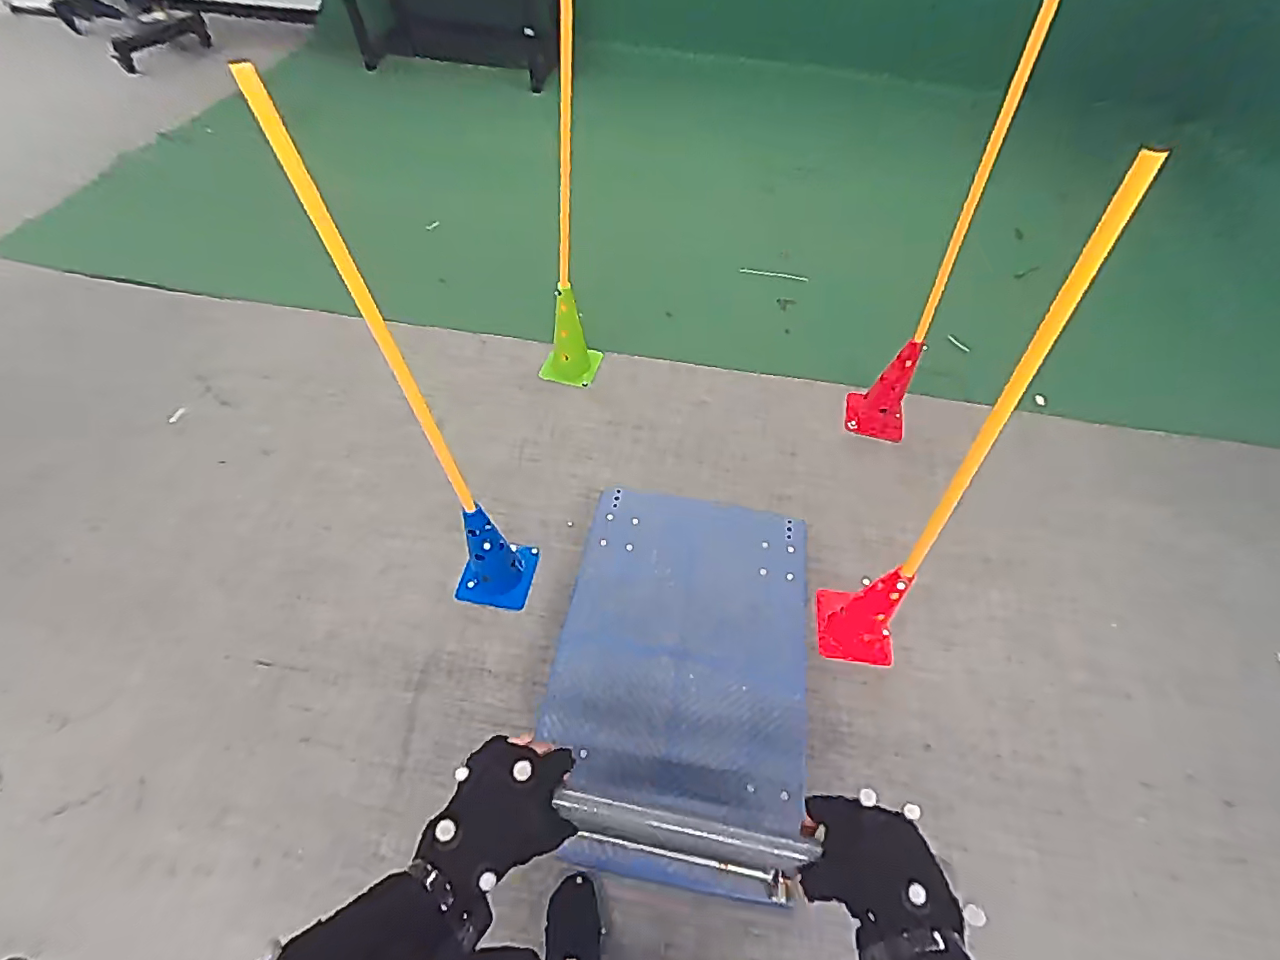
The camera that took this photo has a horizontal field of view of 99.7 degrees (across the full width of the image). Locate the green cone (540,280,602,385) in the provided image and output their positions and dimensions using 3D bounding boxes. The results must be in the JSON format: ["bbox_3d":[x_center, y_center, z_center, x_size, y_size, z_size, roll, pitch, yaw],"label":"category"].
[{"bbox_3d":[-0.257,-0.544,1.924,0.202,0.368,0.200,12,55,7],"label":"green cone"}]

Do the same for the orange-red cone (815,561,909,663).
[{"bbox_3d":[0.592,0.305,1.375,0.199,0.360,0.198,8,55,5],"label":"orange-red cone"}]
